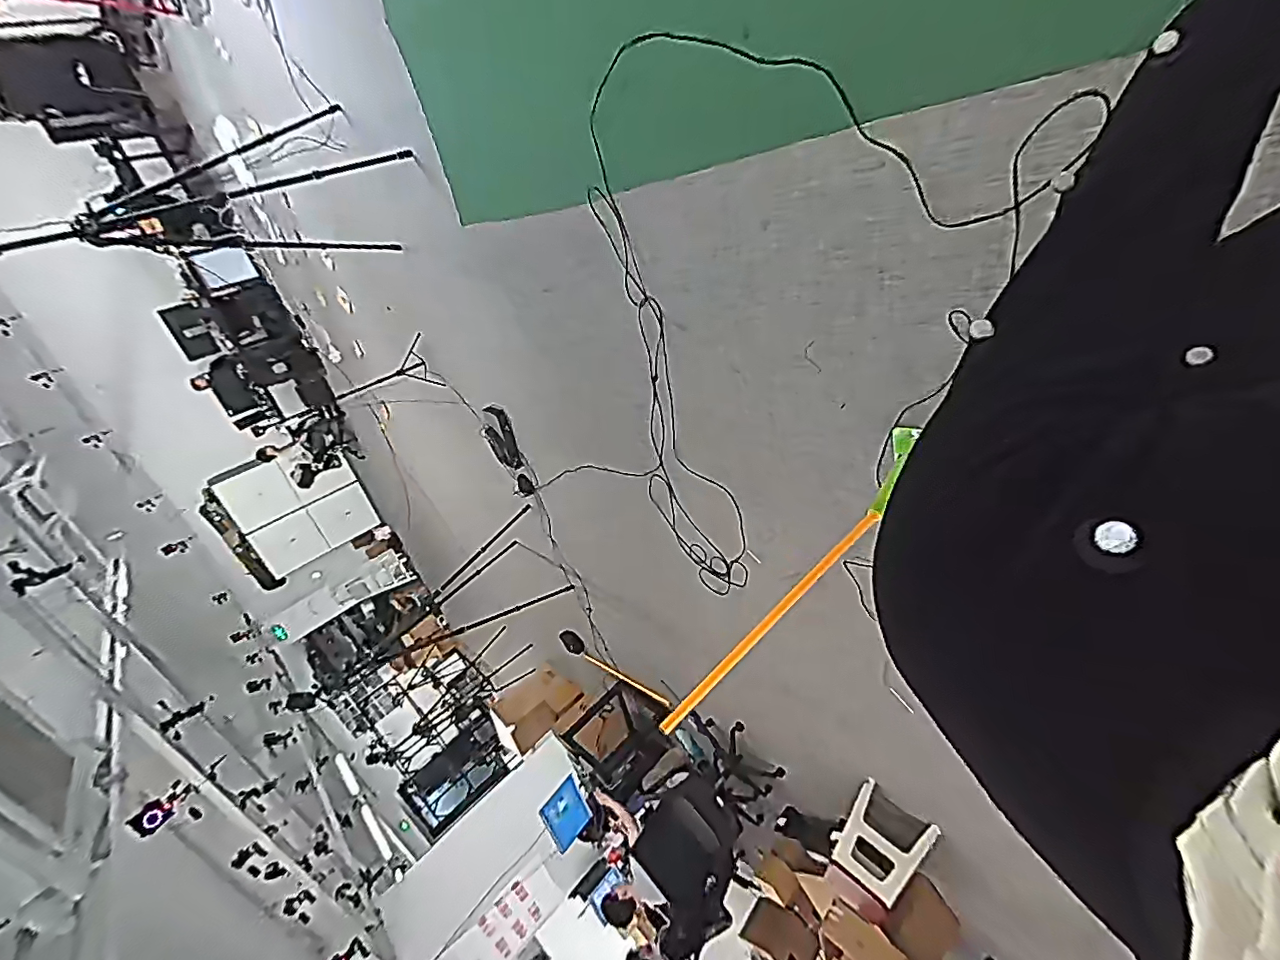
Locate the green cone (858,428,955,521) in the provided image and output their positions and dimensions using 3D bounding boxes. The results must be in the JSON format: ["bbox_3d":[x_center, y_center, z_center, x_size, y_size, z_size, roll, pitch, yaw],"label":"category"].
[{"bbox_3d":[0.777,0.013,1.642,0.202,0.368,0.200,14,130,48],"label":"green cone"}]
